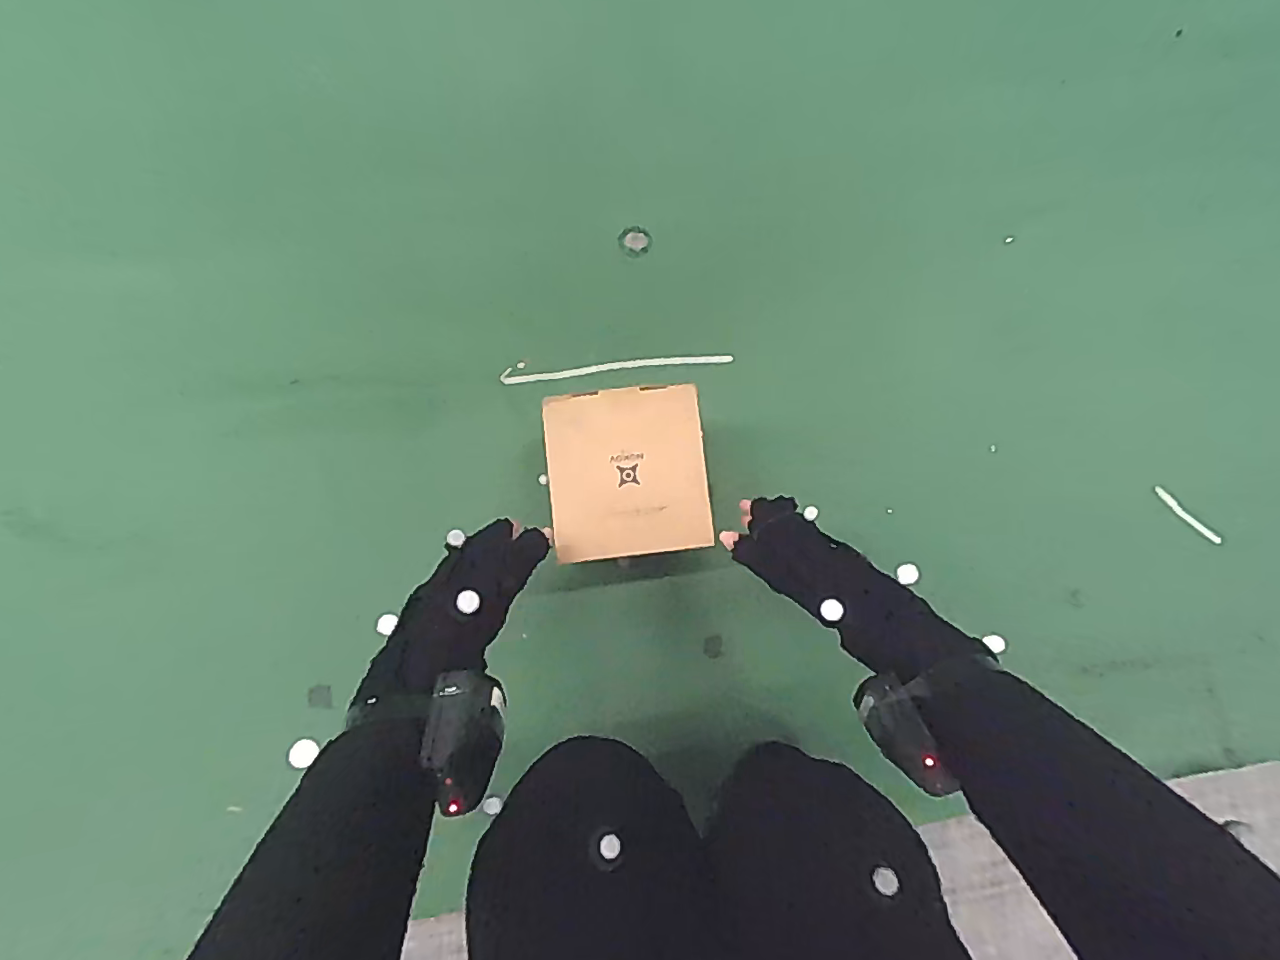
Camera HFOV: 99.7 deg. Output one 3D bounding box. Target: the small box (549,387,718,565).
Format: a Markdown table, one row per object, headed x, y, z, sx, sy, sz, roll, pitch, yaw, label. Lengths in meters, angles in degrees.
| x | y | z | sx | sy | sz | roll | pitch | yaw | label |
| --- | --- | --- | --- | --- | --- | --- | --- | --- | --- |
| -0.011 | 0.002 | 0.645 | 0.168 | 0.176 | 0.179 | -7 | 85 | -3 | small box |
